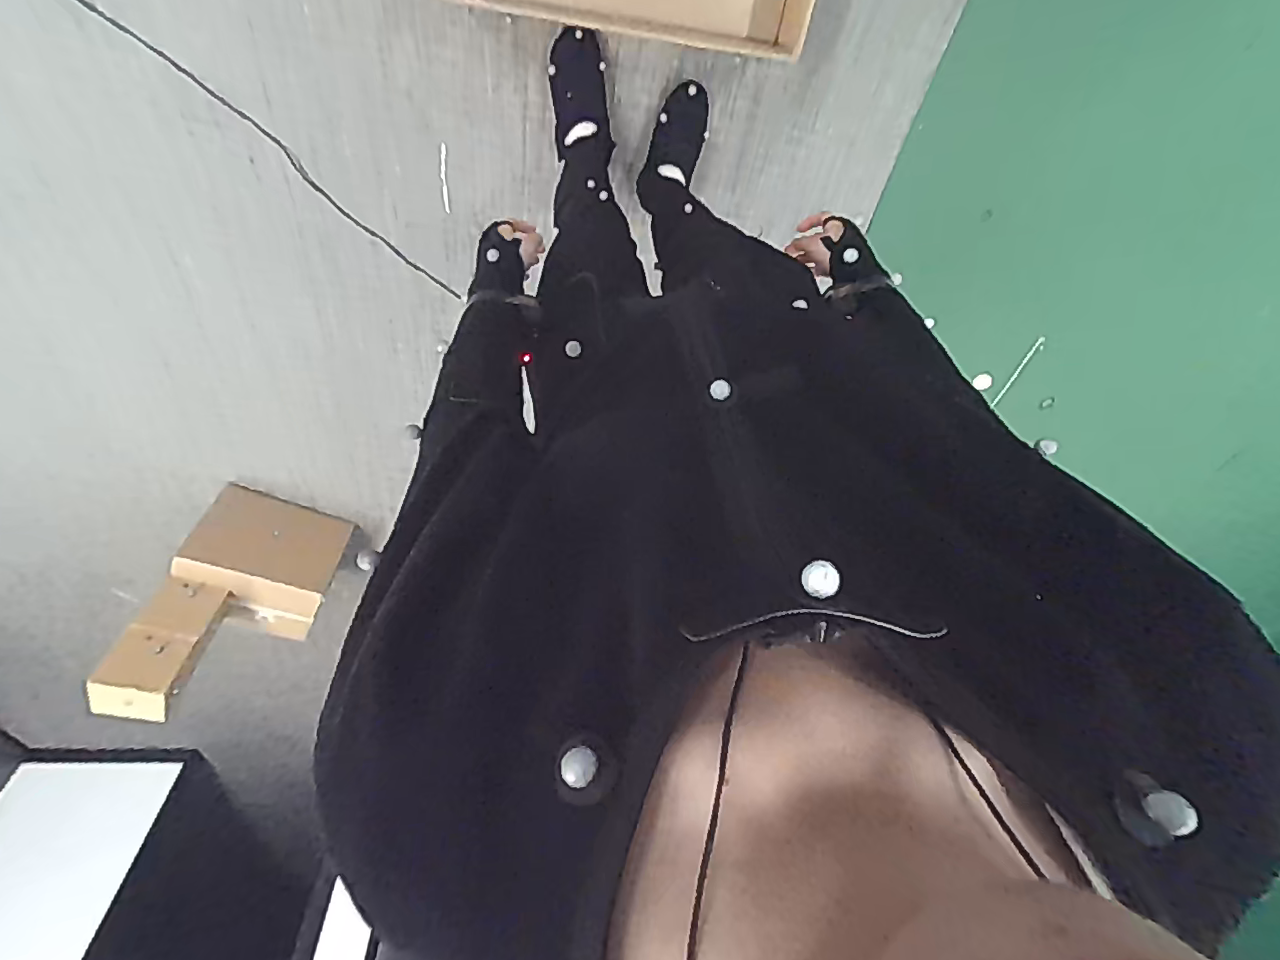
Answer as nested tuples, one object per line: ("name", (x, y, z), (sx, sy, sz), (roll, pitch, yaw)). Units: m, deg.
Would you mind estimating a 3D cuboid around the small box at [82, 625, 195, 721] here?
("small box", (-1.342, 0.521, 1.461), (0.168, 0.176, 0.179), (21, 127, -22))
